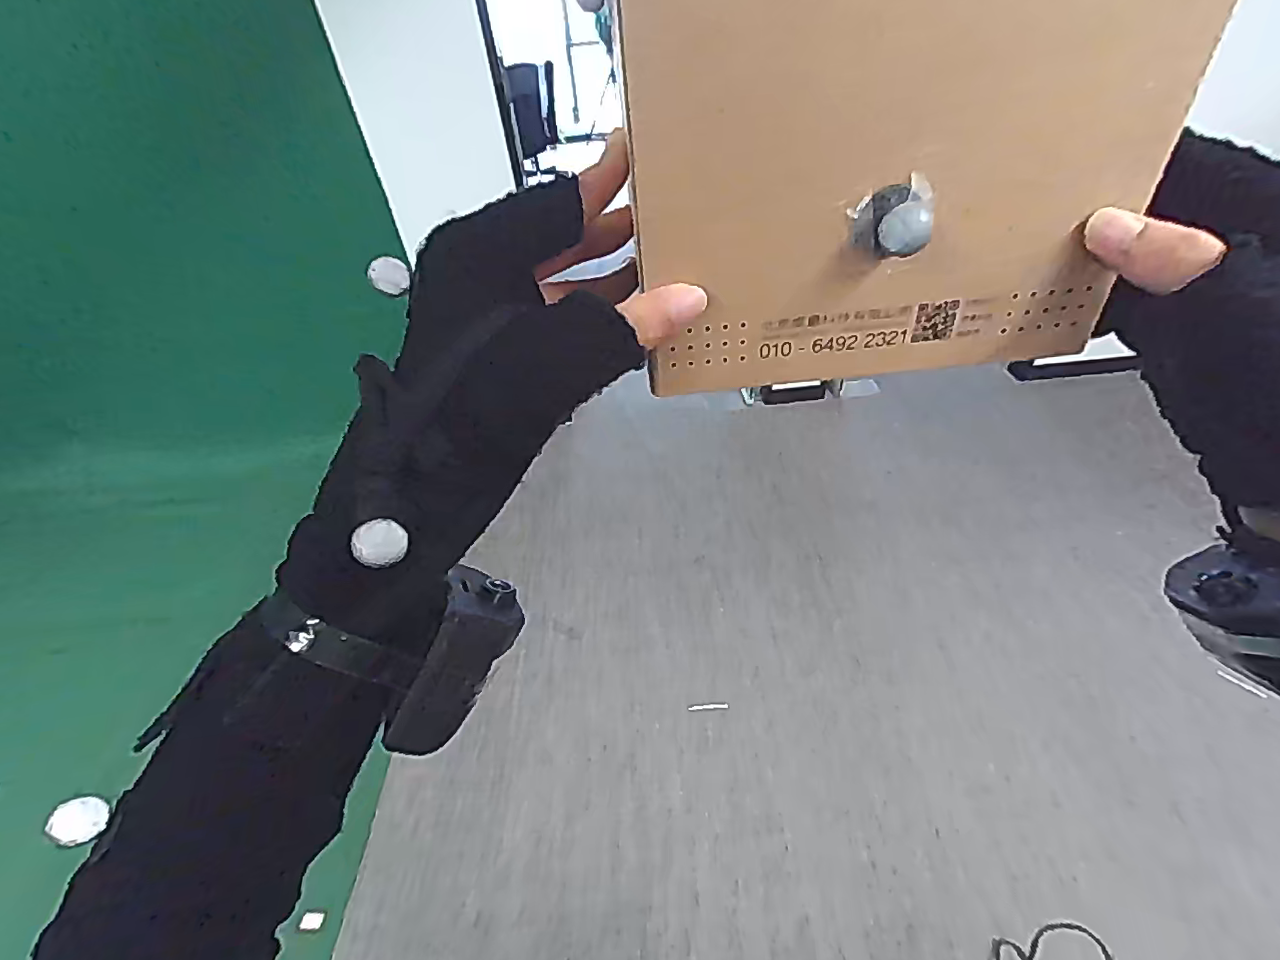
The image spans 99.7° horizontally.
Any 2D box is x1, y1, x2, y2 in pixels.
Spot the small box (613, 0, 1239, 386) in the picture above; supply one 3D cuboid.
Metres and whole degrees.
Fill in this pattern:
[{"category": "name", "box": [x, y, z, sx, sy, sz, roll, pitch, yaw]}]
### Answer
[{"category": "small box", "box": [0.075, -0.156, 0.220, 0.168, 0.176, 0.179, -6, 39, 2]}]
